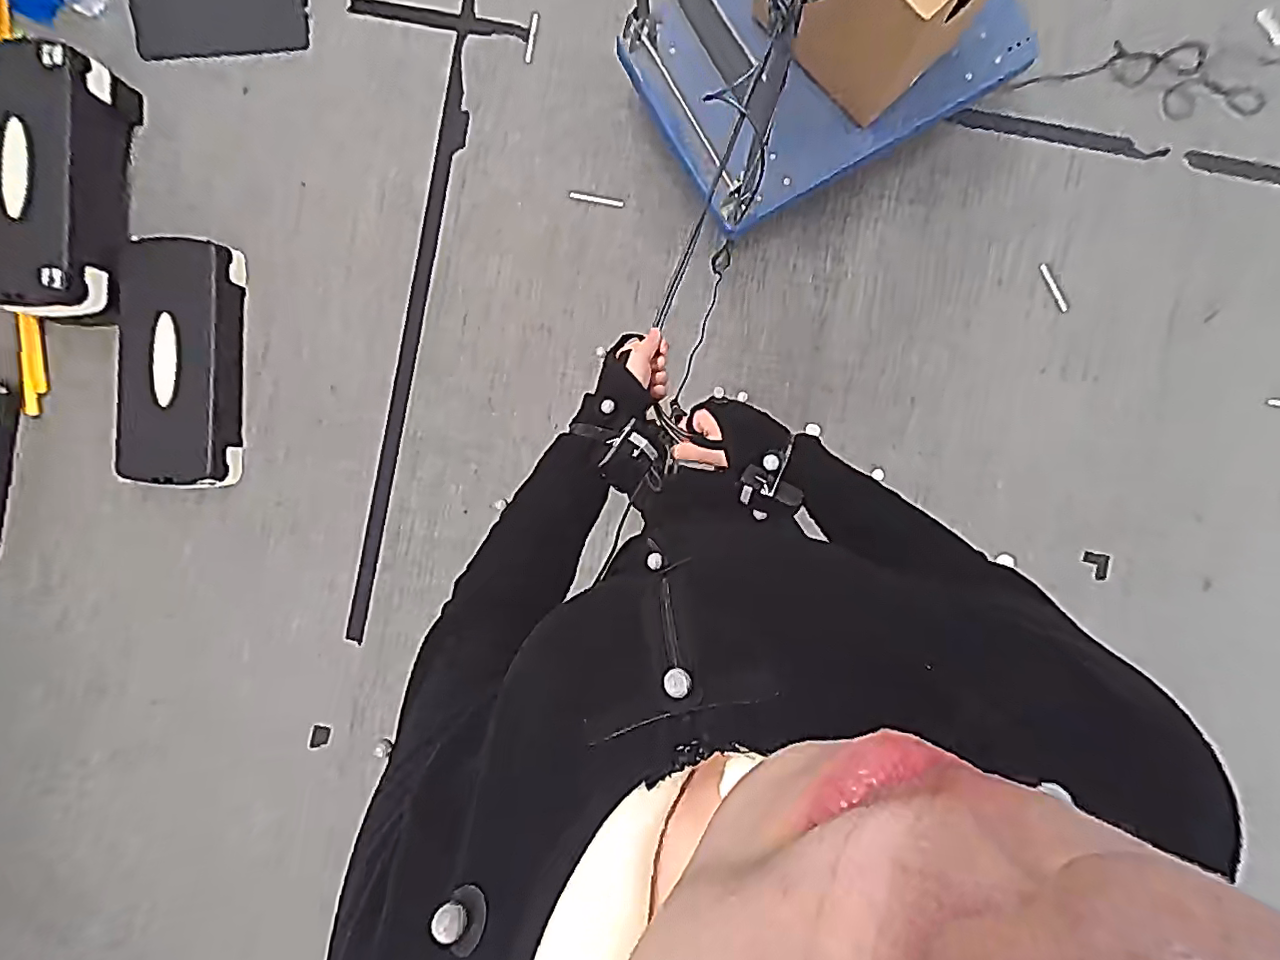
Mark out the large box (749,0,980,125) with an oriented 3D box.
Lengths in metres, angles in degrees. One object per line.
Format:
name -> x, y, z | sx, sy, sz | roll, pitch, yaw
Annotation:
large box -> 0.502, -1.094, 1.157 | 0.320, 0.320, 0.408 | -44, 89, 1
